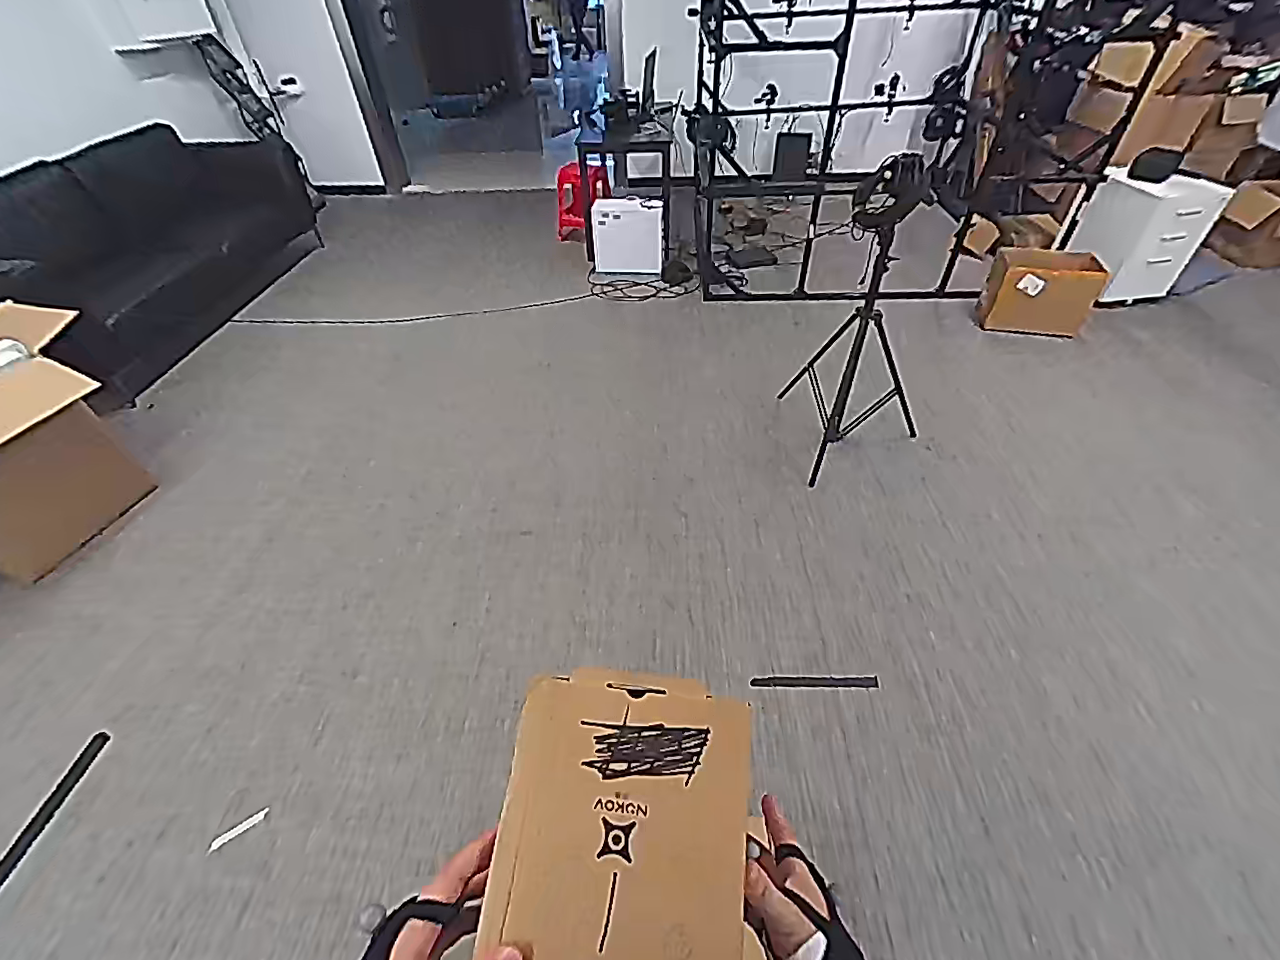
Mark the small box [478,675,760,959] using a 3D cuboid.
[{"bbox_3d":[0.000,0.266,0.420,0.168,0.176,0.179,3,61,9],"label":"small box"}]
